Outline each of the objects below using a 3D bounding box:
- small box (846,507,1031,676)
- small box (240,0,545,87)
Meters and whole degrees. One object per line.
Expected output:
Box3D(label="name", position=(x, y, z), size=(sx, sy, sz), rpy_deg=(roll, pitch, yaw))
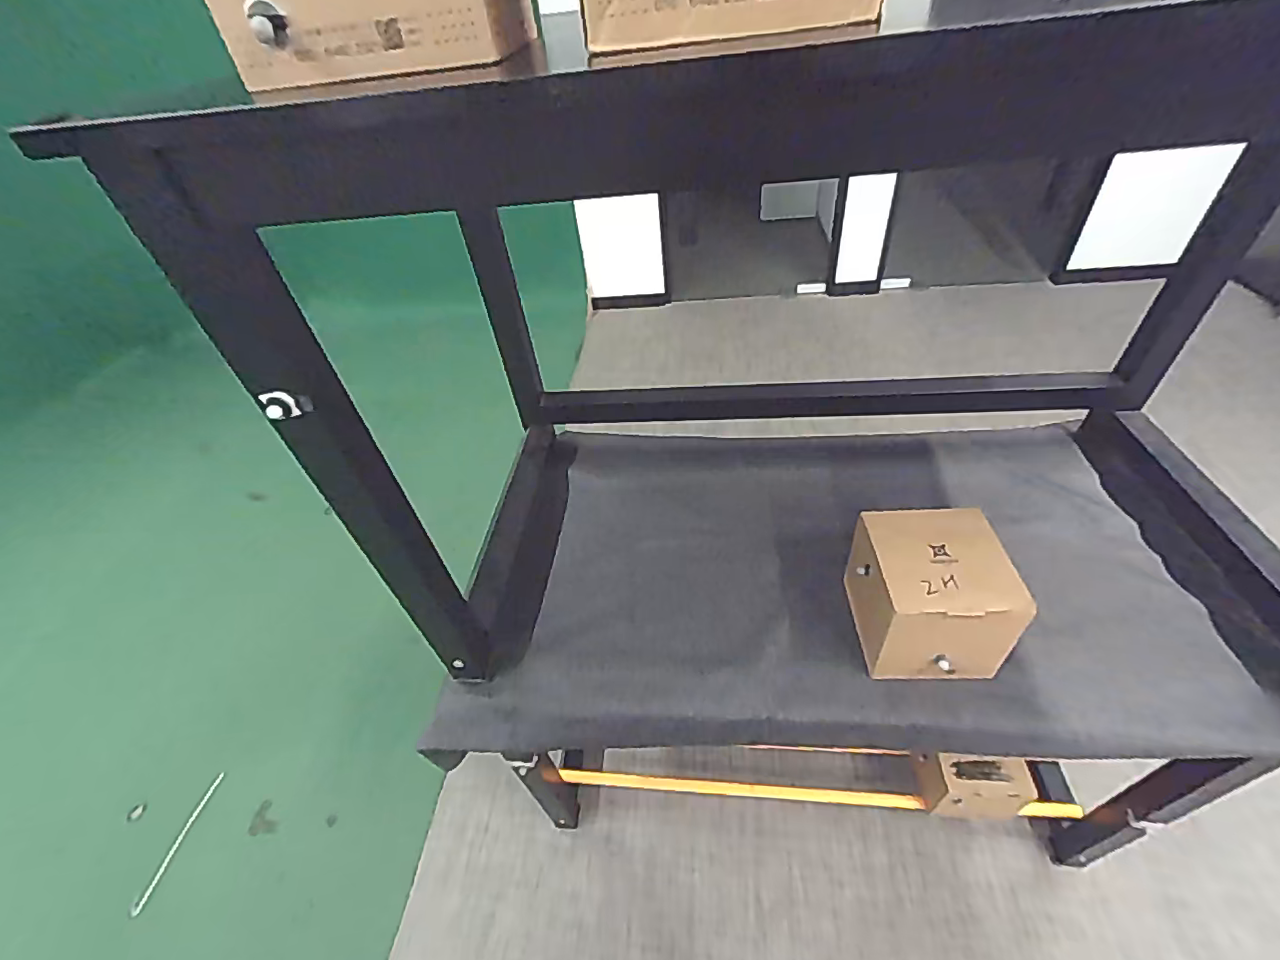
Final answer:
Box3D(label="small box", position=(0.408, 0.159, 0.779), size=(0.168, 0.176, 0.179), rpy_deg=(-2, 42, 6))
Box3D(label="small box", position=(-0.167, -0.374, 0.357), size=(0.168, 0.176, 0.179), rpy_deg=(-3, 42, 4))
